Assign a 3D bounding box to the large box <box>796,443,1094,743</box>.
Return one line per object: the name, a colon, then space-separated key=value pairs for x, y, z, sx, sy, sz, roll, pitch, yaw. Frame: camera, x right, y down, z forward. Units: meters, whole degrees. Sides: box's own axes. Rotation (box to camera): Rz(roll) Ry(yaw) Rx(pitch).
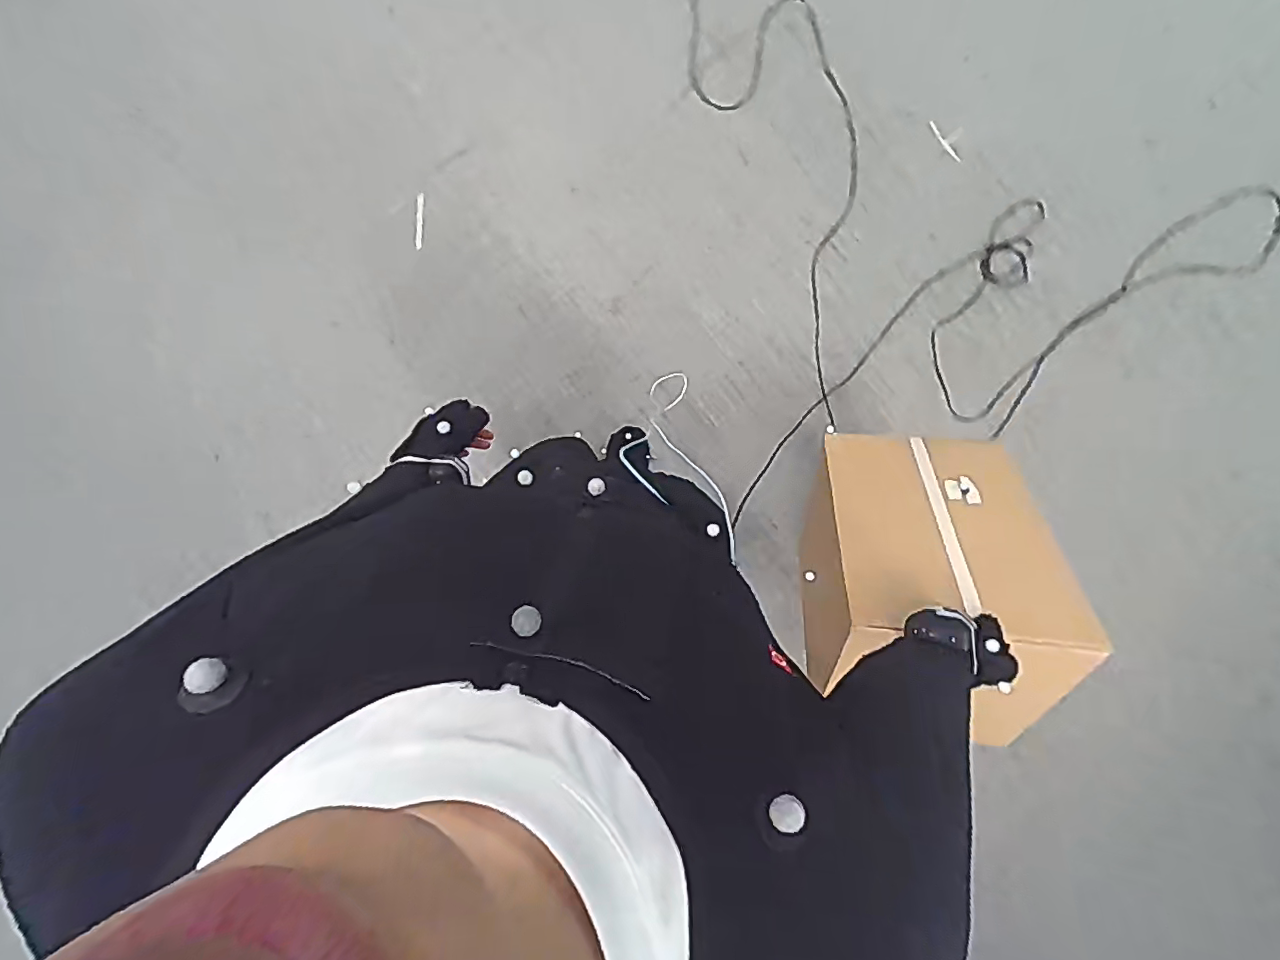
large box: x=0.463 y=0.186 z=0.948 sx=0.320 sy=0.408 sz=0.320 roll=5 pitch=133 yaw=7
